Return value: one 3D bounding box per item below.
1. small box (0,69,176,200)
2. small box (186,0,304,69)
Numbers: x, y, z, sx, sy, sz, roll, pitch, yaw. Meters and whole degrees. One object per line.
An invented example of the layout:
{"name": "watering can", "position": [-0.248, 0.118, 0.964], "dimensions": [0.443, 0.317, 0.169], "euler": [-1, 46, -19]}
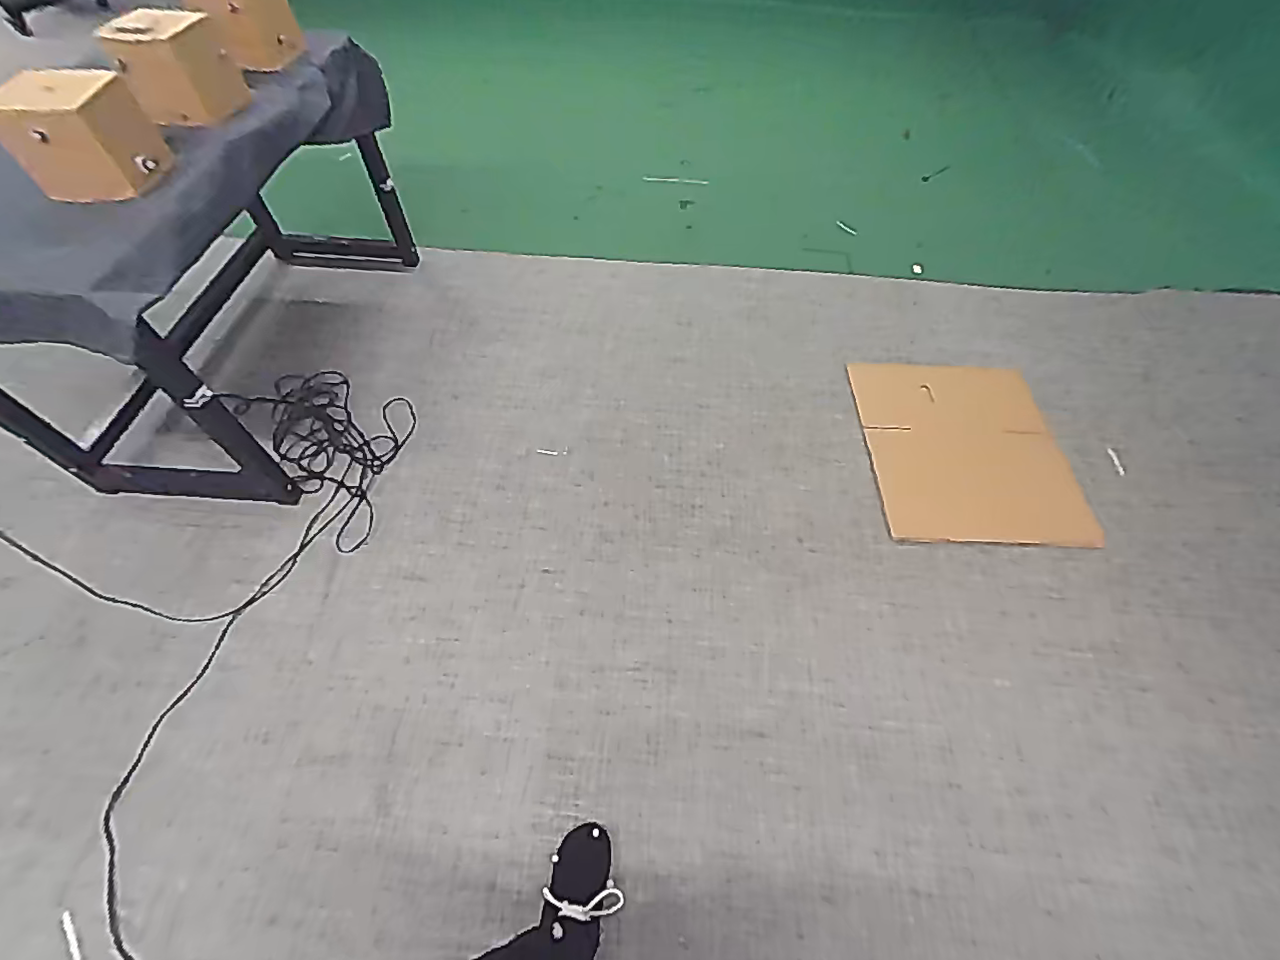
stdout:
{"name": "small box", "position": [-1.078, -0.669, 1.055], "dimensions": [0.179, 0.176, 0.168], "euler": [-2, 57, -3]}
{"name": "small box", "position": [-1.037, -1.208, 1.417], "dimensions": [0.179, 0.176, 0.168], "euler": [7, 57, 4]}
